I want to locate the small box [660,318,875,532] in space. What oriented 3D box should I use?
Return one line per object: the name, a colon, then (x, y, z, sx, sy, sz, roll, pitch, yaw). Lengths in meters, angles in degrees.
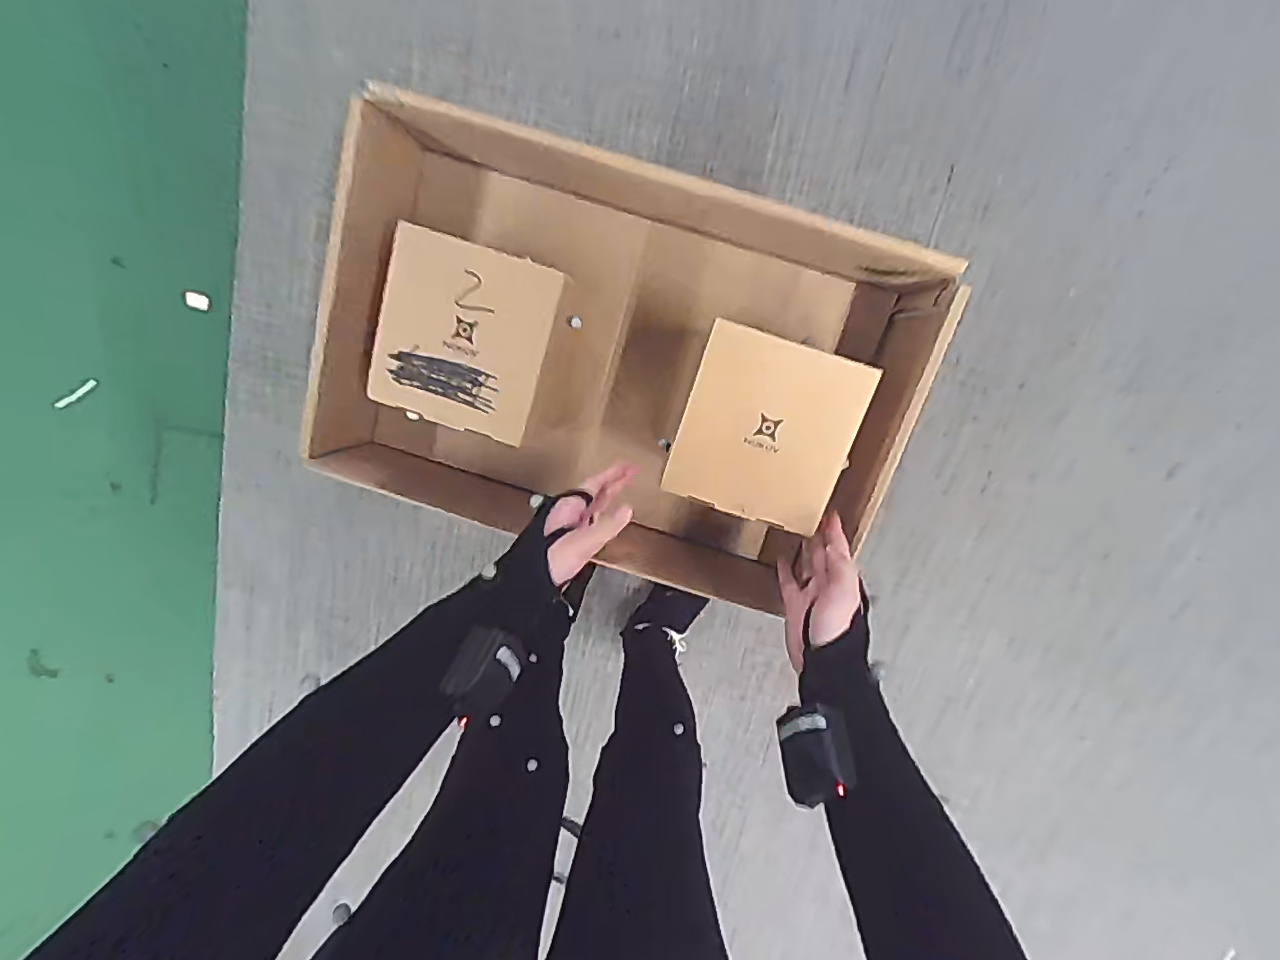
small box: (0.127, -0.070, 0.603, 0.168, 0.176, 0.179, 17, 106, 2)
